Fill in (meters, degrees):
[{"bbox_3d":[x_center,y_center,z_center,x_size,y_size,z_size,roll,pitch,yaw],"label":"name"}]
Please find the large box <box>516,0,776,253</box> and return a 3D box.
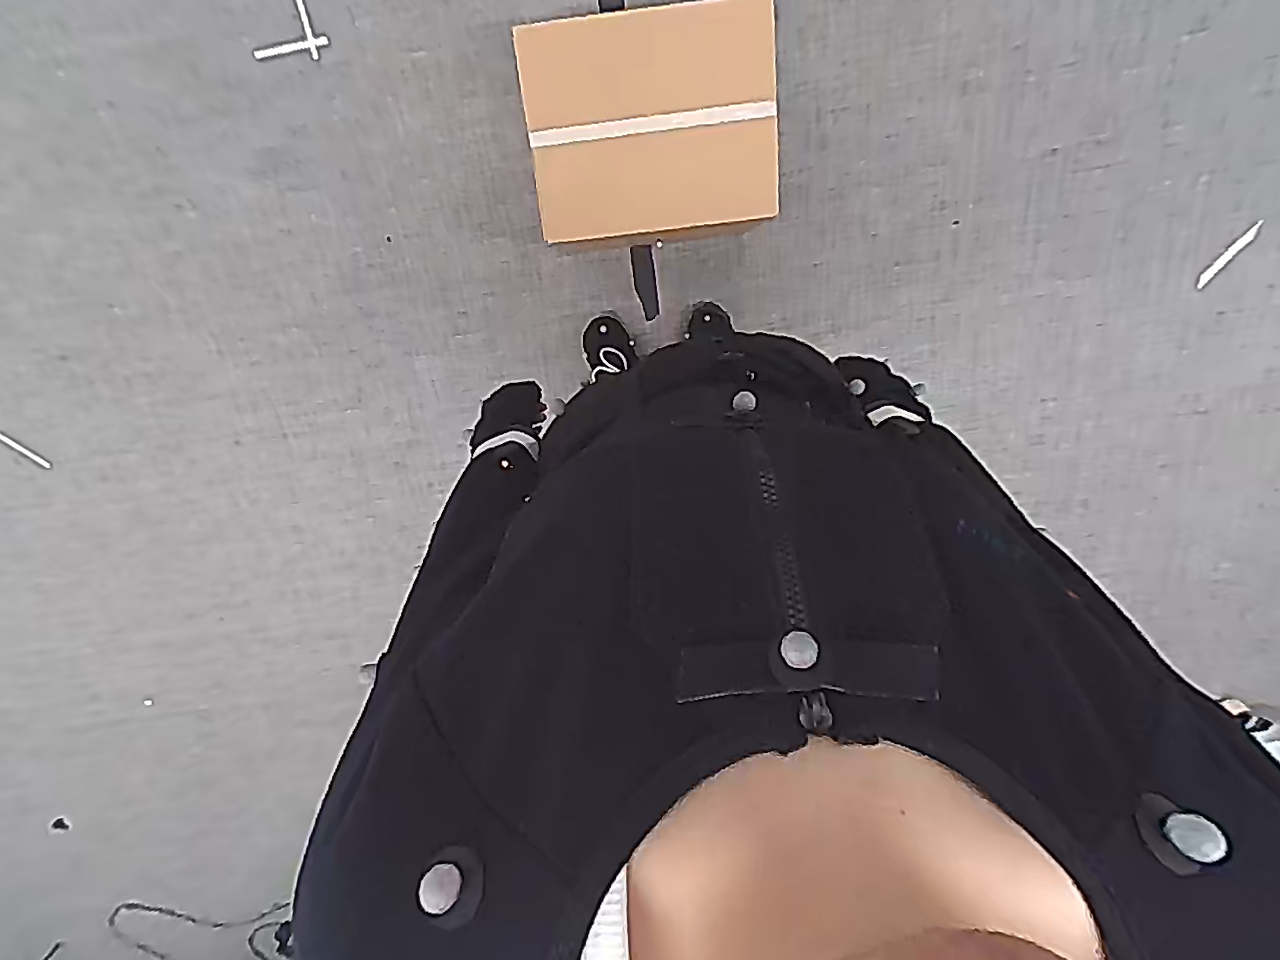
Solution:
[{"bbox_3d":[0.017,-0.629,1.024,0.408,0.320,0.320,-6,110,2],"label":"large box"}]
